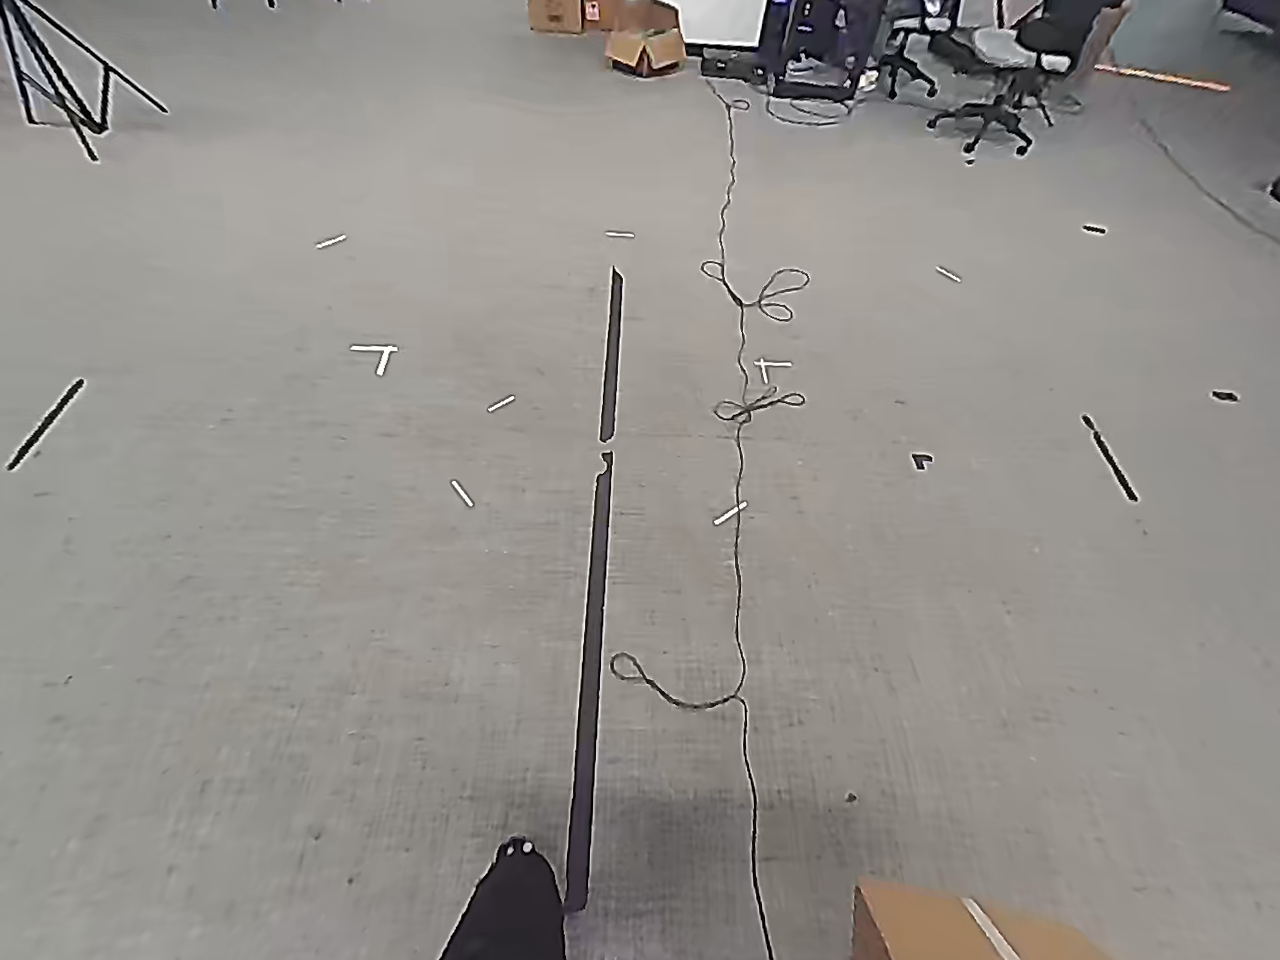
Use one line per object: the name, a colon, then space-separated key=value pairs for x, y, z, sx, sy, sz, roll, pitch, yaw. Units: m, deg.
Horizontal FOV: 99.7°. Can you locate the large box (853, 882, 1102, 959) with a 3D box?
large box: x=0.435 y=0.752 z=0.593 sx=0.320 sy=0.408 sz=0.320 roll=6 pitch=82 yaw=10
